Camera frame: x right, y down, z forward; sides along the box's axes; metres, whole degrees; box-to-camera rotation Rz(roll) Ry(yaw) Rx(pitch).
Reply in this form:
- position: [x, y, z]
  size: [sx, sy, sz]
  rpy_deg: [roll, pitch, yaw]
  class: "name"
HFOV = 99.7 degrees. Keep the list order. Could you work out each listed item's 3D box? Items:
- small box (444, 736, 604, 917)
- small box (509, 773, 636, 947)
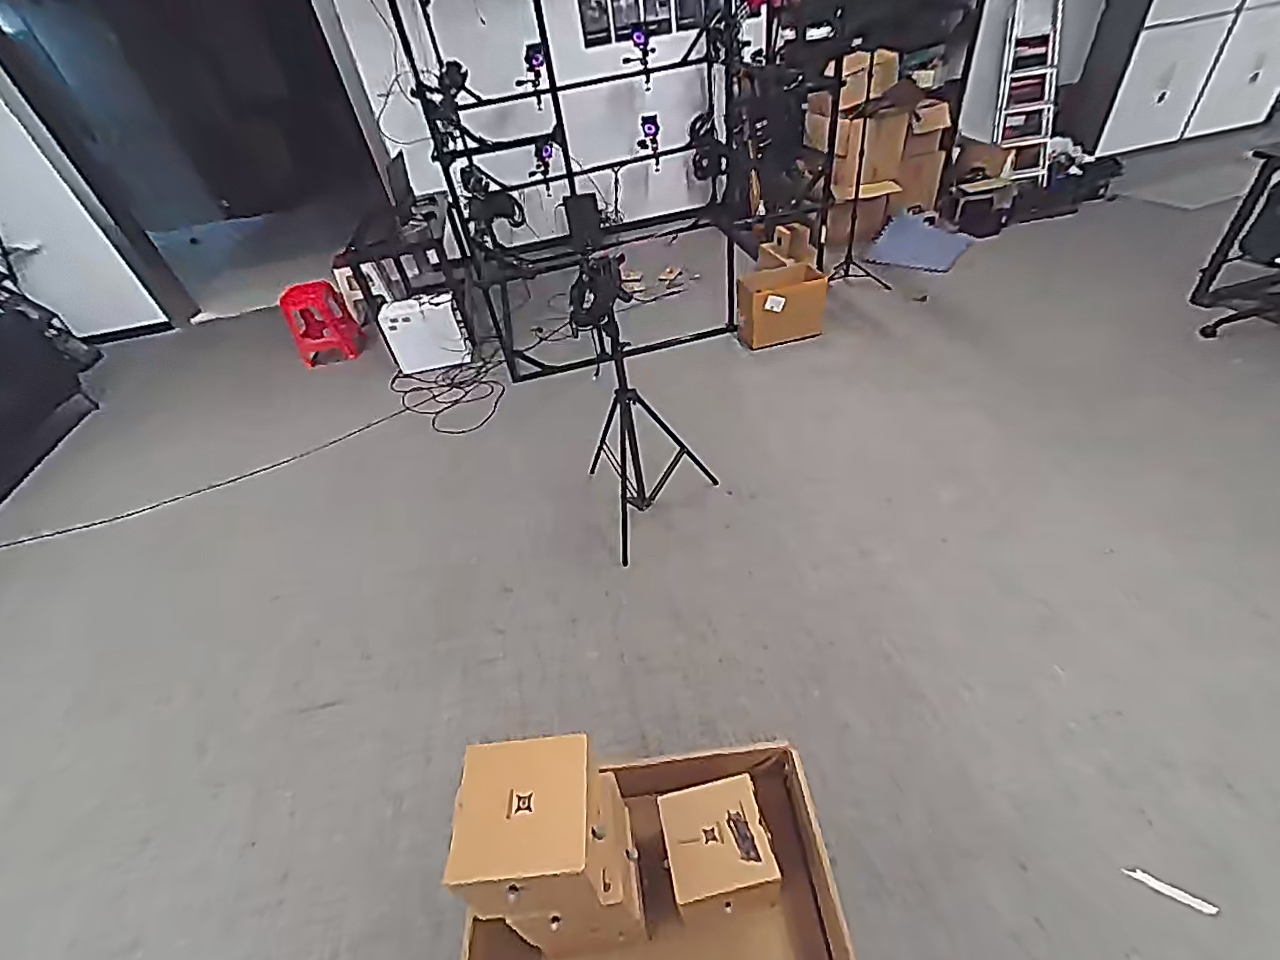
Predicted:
- position: [-0.144, 0.482, 0.751]
  size: [0.179, 0.176, 0.168]
  rpy_deg: [-7, 40, 1]
  class: "small box"
- position: [-0.102, 0.601, 0.857]
  size: [0.168, 0.176, 0.179]
  rpy_deg: [-9, 40, -1]
  class: "small box"
